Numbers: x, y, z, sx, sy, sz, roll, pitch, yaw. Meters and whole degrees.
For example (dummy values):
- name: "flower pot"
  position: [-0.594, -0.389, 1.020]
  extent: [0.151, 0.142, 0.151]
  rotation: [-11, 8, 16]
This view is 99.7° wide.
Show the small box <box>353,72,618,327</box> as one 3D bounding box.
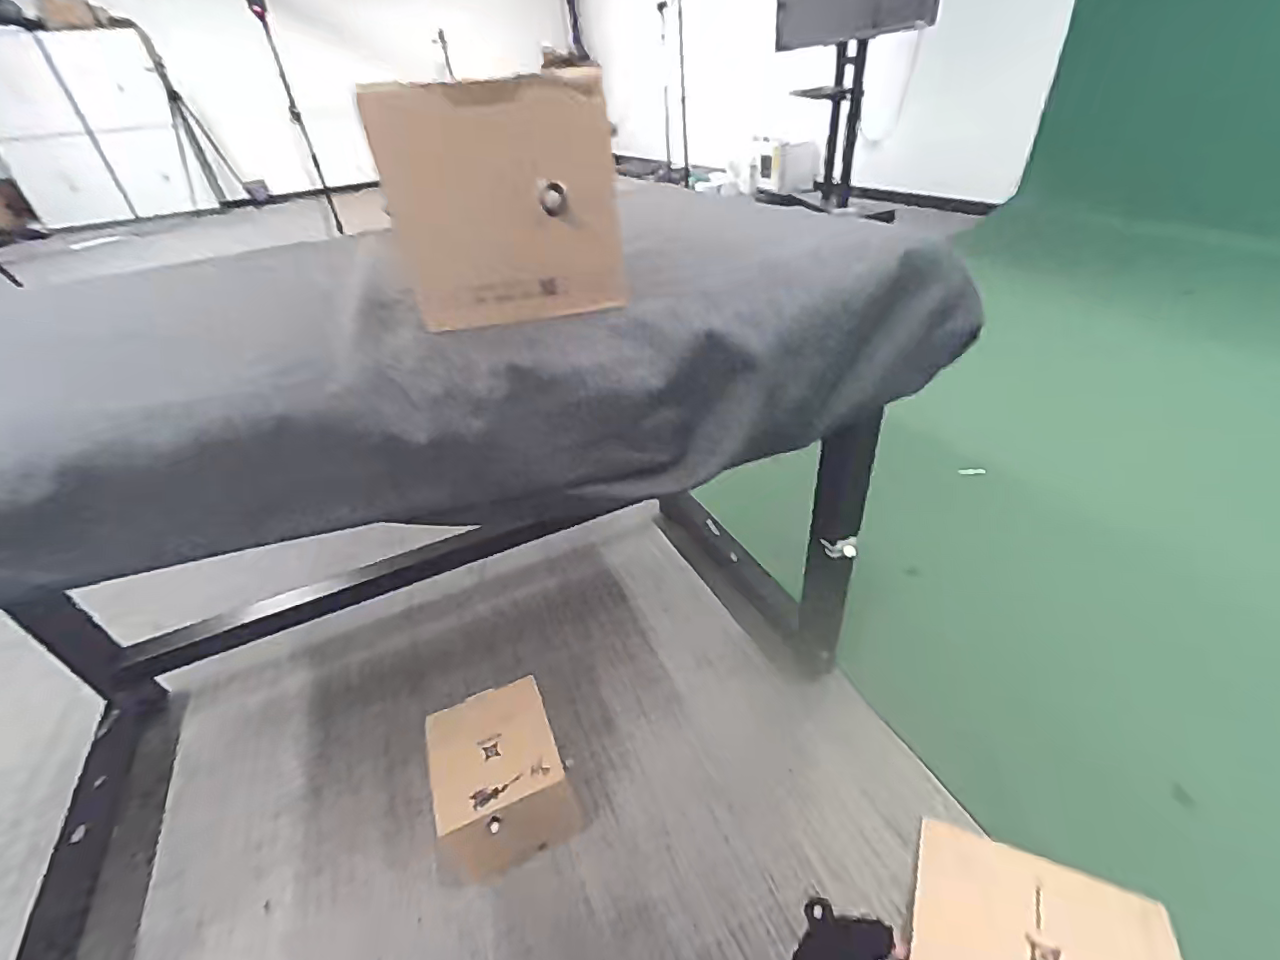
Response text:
- name: "small box"
  position: [-0.114, -0.239, 0.472]
  extent: [0.168, 0.176, 0.179]
  rotation: [-8, 34, -4]

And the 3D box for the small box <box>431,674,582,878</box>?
- name: "small box"
  position: [-0.196, 0.432, 0.800]
  extent: [0.168, 0.176, 0.179]
  rotation: [-19, 36, -15]
